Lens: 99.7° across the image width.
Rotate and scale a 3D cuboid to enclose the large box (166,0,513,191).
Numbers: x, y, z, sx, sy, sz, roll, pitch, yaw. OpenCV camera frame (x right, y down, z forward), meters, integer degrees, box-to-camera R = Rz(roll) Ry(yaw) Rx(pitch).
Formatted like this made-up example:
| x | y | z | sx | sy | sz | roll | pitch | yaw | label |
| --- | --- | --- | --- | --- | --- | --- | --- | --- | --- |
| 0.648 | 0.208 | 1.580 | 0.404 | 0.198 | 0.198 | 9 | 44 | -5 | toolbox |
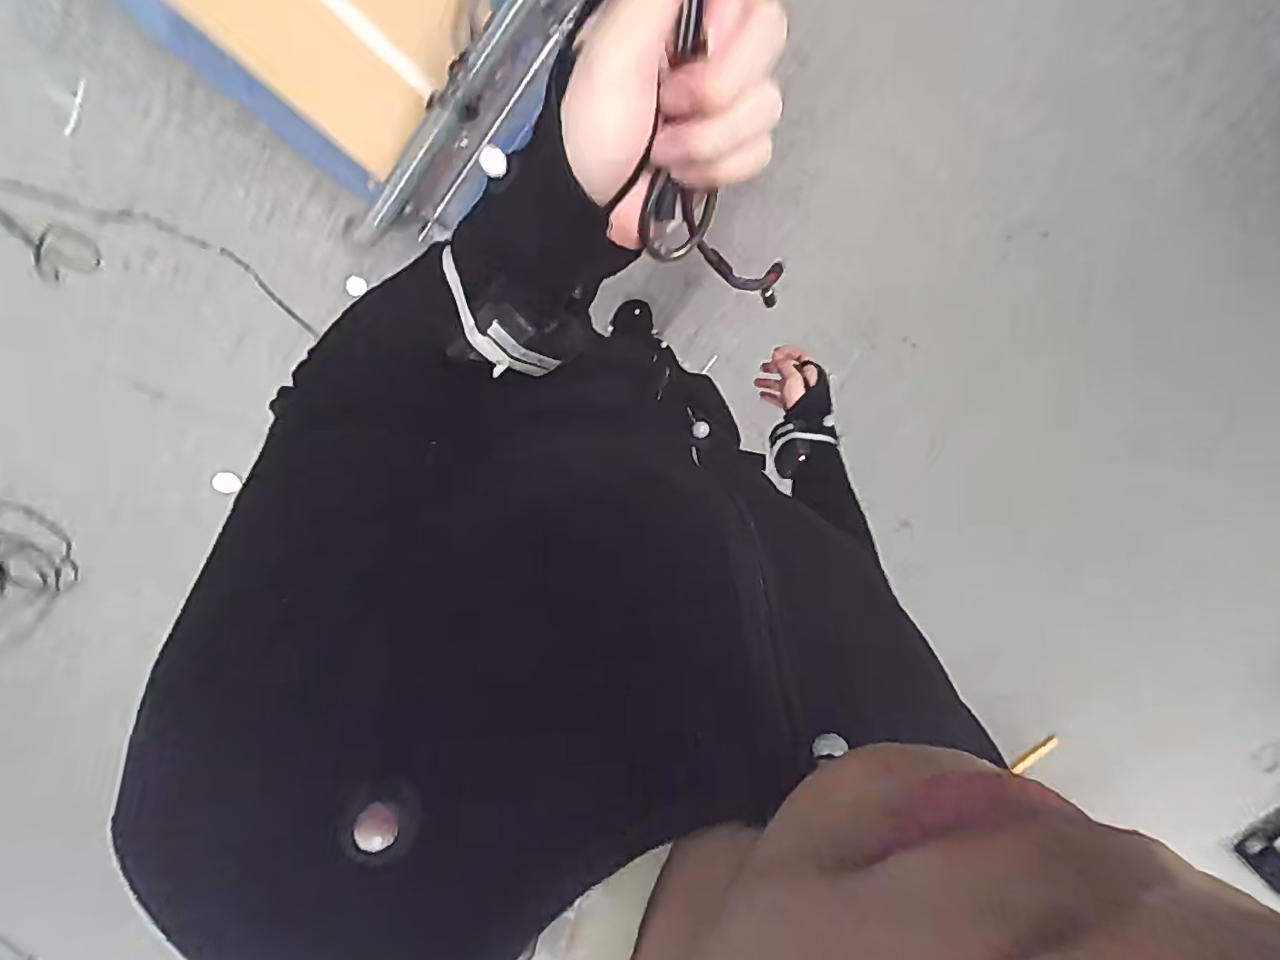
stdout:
| x | y | z | sx | sy | sz | roll | pitch | yaw | label |
| --- | --- | --- | --- | --- | --- | --- | --- | --- | --- |
| -0.482 | -0.774 | 0.928 | 0.408 | 0.320 | 0.320 | 38 | 104 | -22 | large box |
